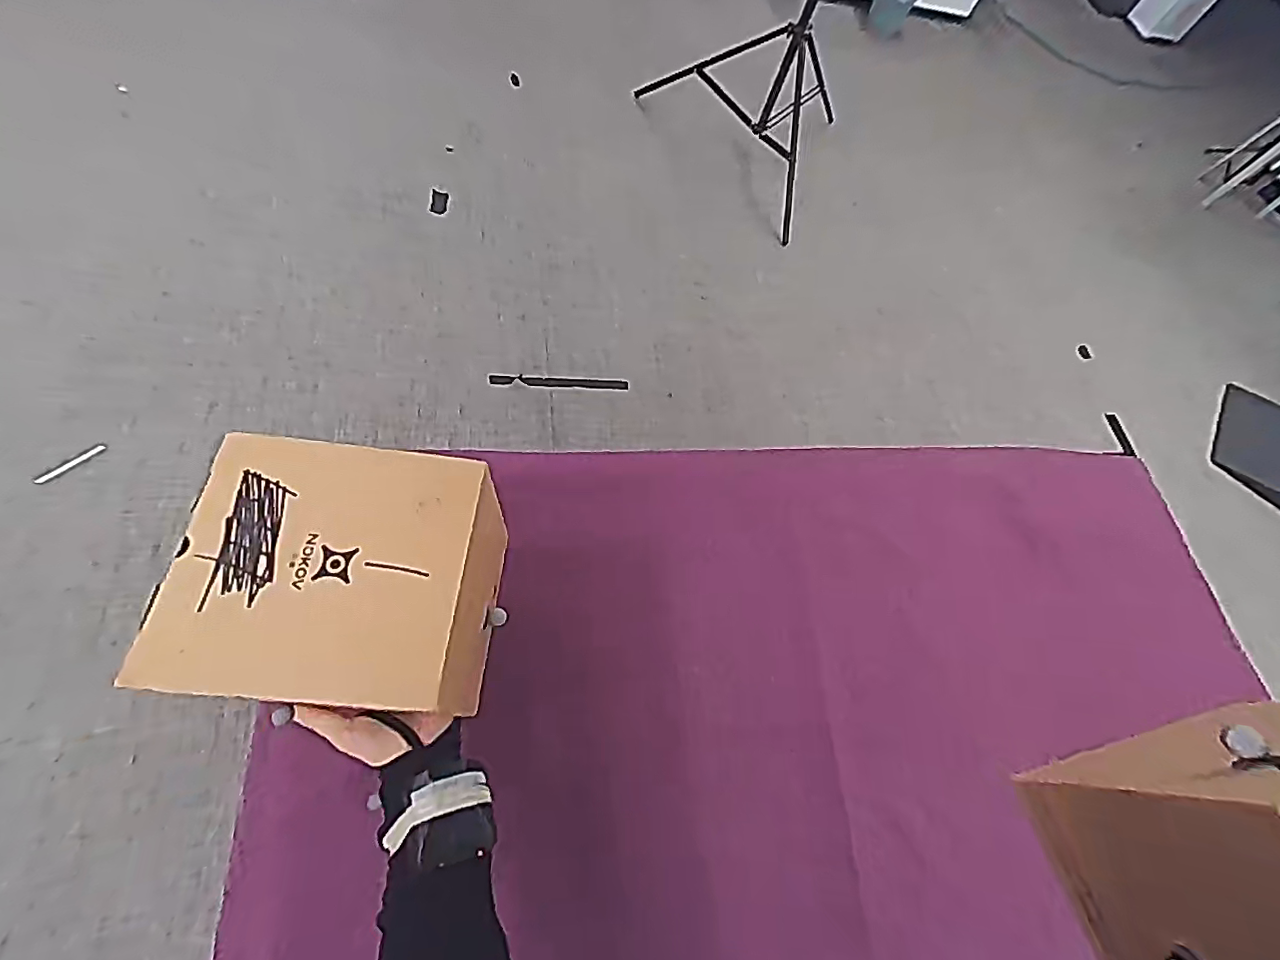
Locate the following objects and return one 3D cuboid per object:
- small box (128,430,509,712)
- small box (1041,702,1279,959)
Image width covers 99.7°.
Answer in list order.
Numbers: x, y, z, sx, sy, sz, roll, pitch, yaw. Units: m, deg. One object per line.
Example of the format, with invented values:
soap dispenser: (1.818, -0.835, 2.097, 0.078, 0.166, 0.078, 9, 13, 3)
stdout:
small box: (-0.207, 0.082, 0.414, 0.179, 0.176, 0.168, 7, 65, -6)
small box: (0.342, 0.209, 0.255, 0.179, 0.176, 0.168, -13, 66, -7)
